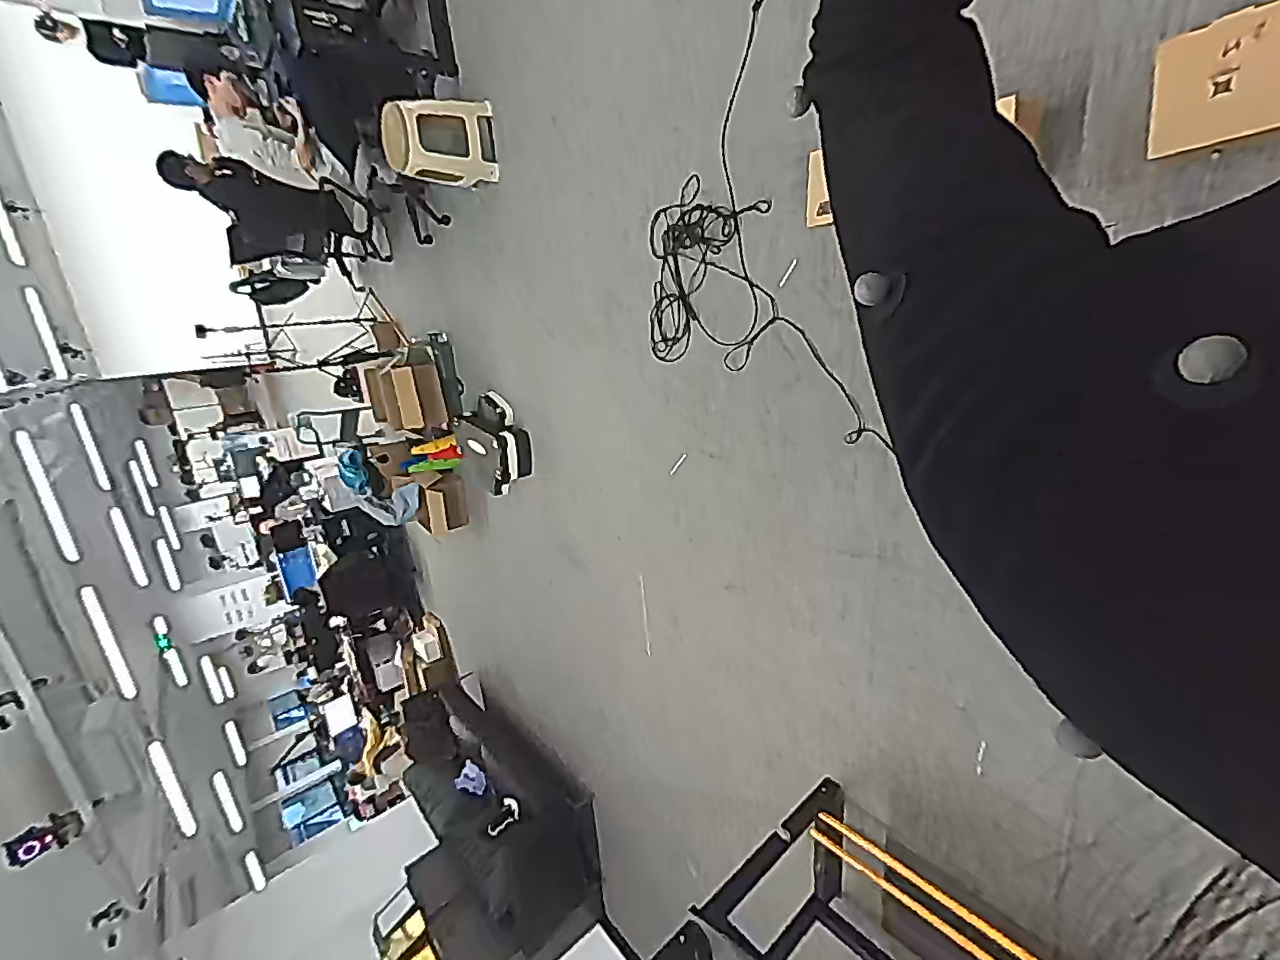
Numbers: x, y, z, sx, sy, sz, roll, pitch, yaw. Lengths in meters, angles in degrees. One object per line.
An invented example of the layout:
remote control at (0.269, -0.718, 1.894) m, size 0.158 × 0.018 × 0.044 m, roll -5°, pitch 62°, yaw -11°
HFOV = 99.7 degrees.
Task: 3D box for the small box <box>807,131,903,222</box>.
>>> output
small box at (0.546, -0.758, 1.373) m, size 0.168 × 0.176 × 0.179 m, roll 19°, pitch 118°, yaw 47°

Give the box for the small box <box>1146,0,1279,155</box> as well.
small box at (0.966, -0.655, 0.887) m, size 0.168 × 0.176 × 0.179 m, roll 9°, pitch 112°, yaw 49°
